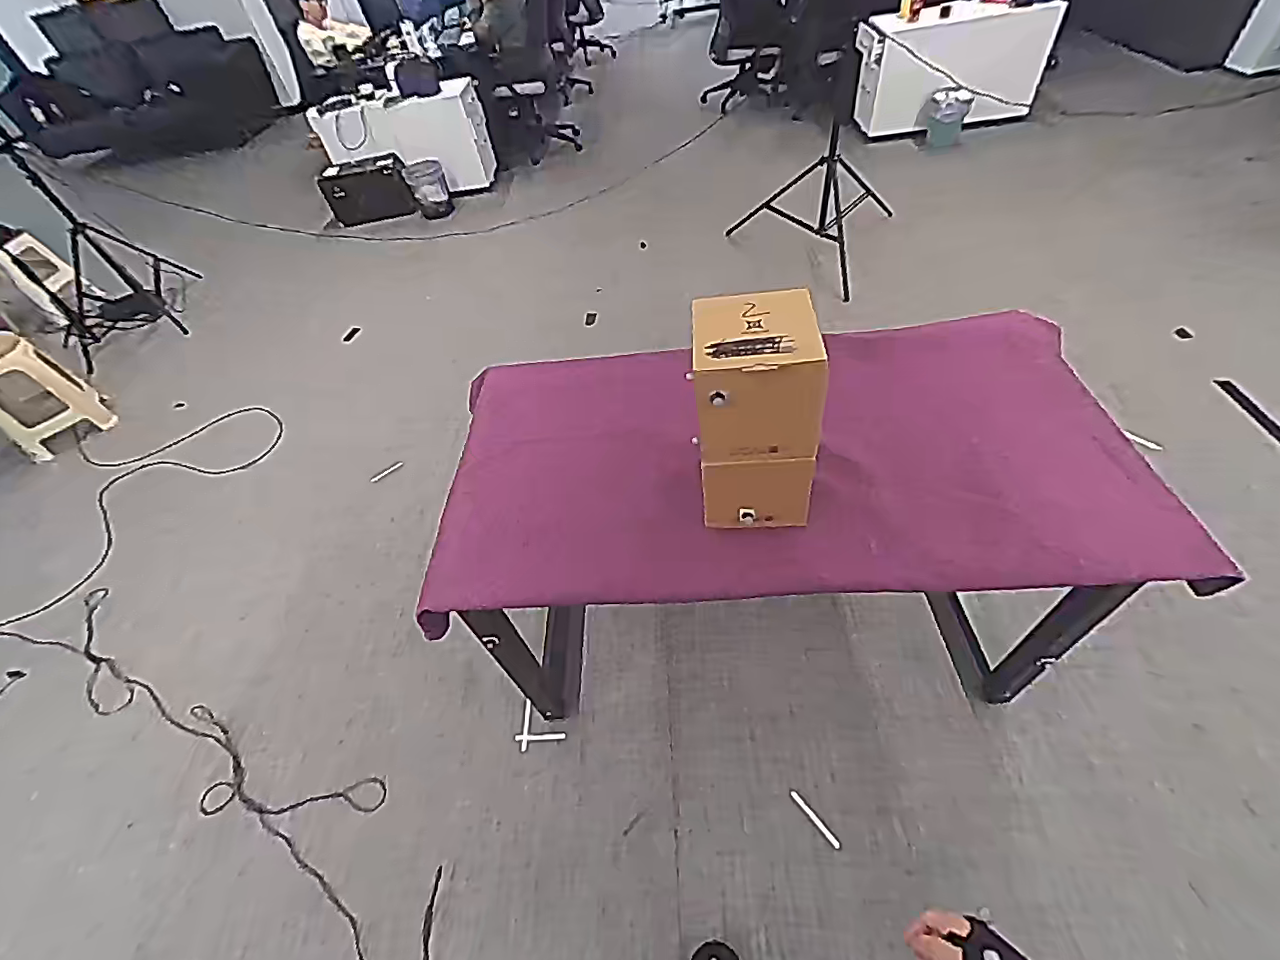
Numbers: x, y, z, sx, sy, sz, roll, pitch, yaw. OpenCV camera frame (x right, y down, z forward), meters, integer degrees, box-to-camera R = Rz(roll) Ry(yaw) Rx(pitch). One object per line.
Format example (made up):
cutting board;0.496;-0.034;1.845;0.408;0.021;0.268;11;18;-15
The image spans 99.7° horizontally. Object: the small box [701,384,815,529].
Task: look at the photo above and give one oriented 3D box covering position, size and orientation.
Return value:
small box;0.186;-0.038;0.903;0.168;0.176;0.179;-3;49;8
